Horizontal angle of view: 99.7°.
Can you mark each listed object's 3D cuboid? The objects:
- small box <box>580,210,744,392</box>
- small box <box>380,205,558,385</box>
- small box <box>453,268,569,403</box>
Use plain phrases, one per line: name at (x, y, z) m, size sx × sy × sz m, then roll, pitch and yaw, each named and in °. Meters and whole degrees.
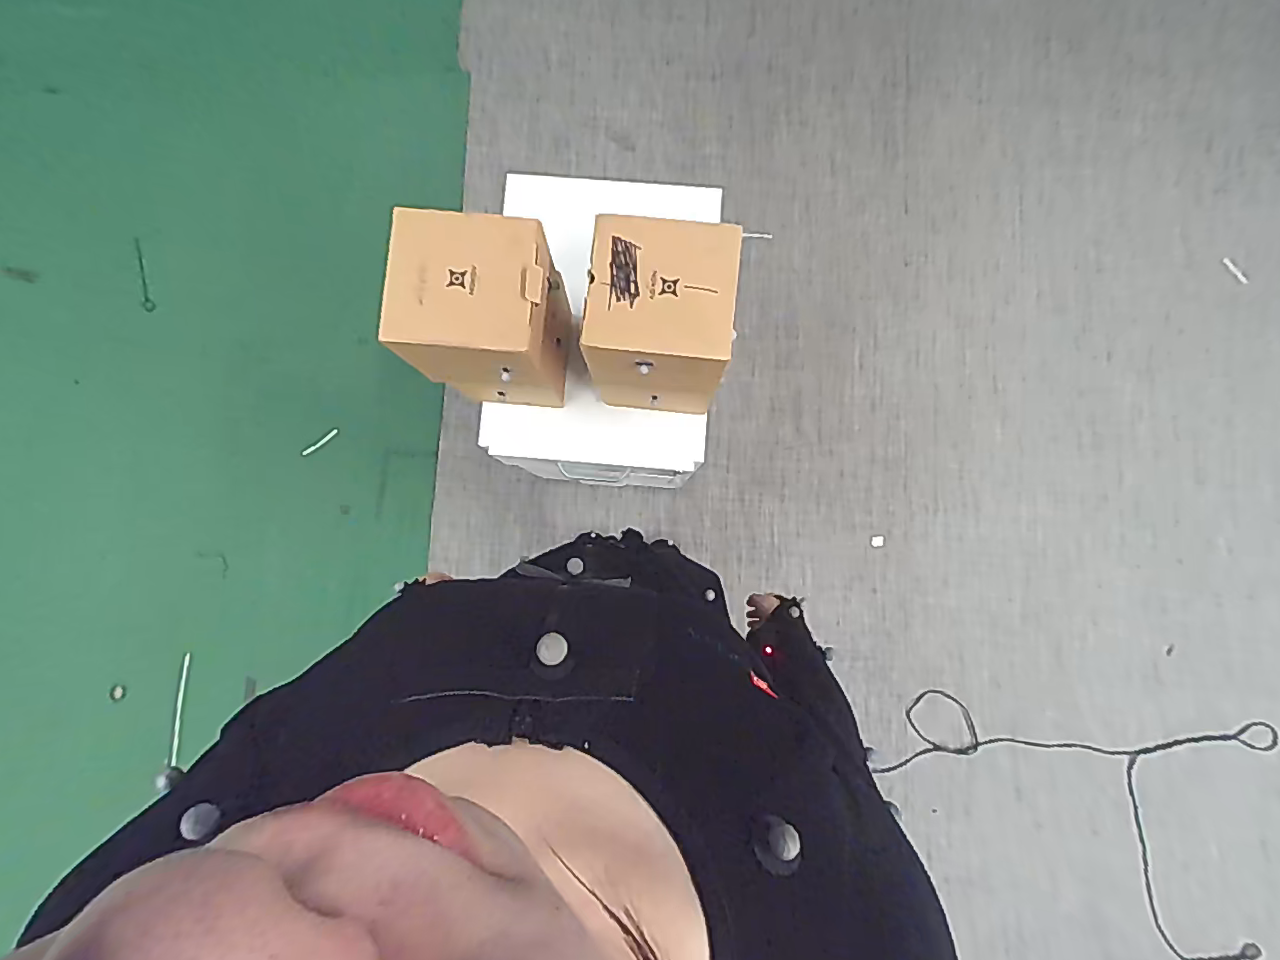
small box at (0.027, -0.220, 0.705) m, size 0.179 × 0.176 × 0.168 m, roll 7°, pitch 85°, yaw 1°
small box at (-0.207, -0.227, 0.706) m, size 0.179 × 0.176 × 0.168 m, roll 4°, pitch 84°, yaw 0°
small box at (-0.208, -0.229, 0.870) m, size 0.168 × 0.176 × 0.179 m, roll 5°, pitch 85°, yaw -2°
